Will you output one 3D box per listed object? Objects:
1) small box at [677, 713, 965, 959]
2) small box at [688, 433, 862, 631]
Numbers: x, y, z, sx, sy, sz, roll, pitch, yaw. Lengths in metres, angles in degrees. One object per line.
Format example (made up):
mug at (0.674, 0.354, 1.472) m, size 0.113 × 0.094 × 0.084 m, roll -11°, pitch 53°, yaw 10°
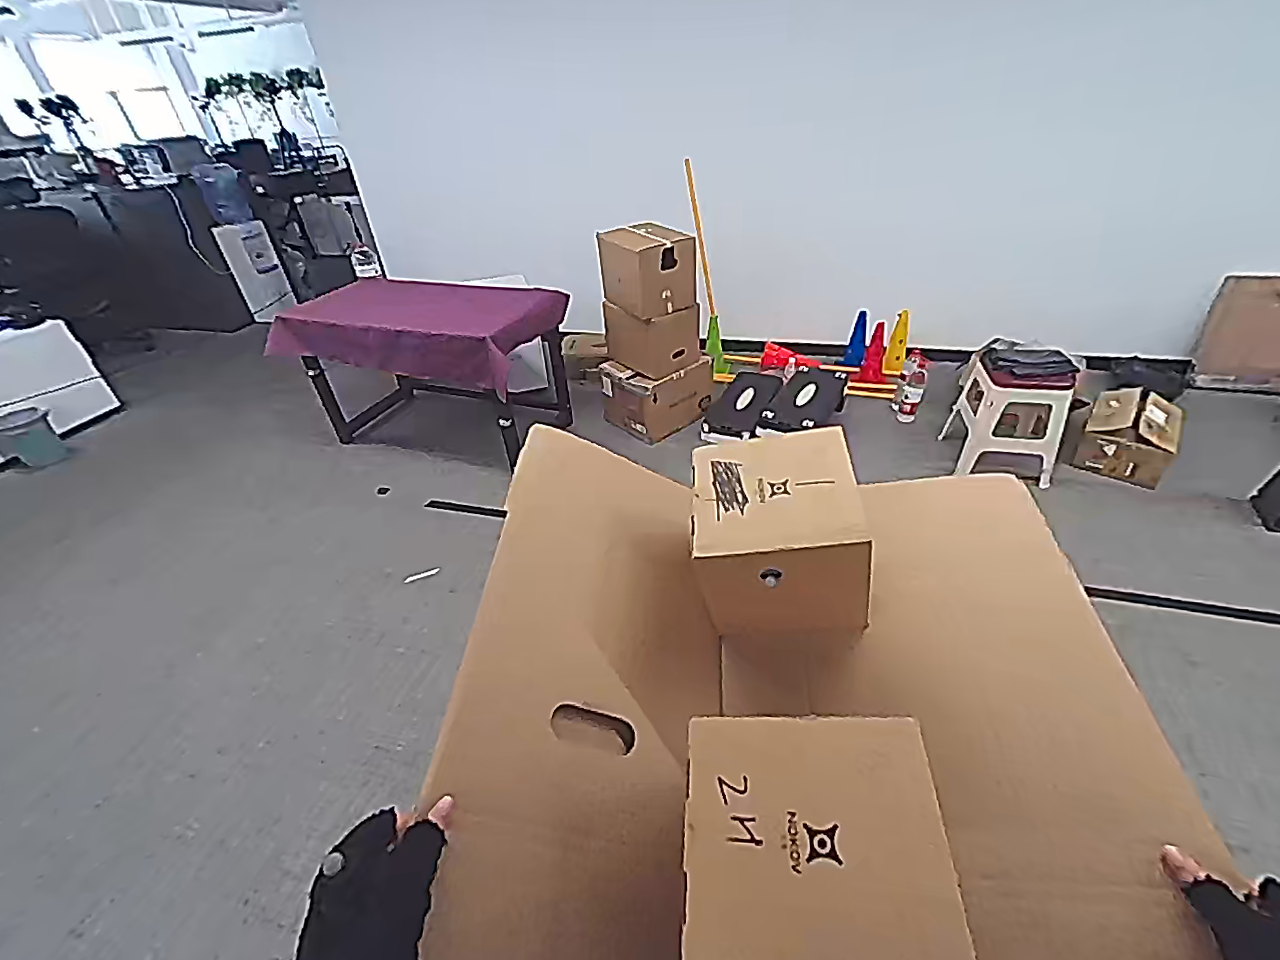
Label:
small box at (0.136, 0.303, 0.437) m, size 0.179 × 0.176 × 0.168 m, roll -6°, pitch 46°, yaw 16°
small box at (0.162, 0.070, 0.652) m, size 0.179 × 0.176 × 0.168 m, roll -8°, pitch 46°, yaw 14°
